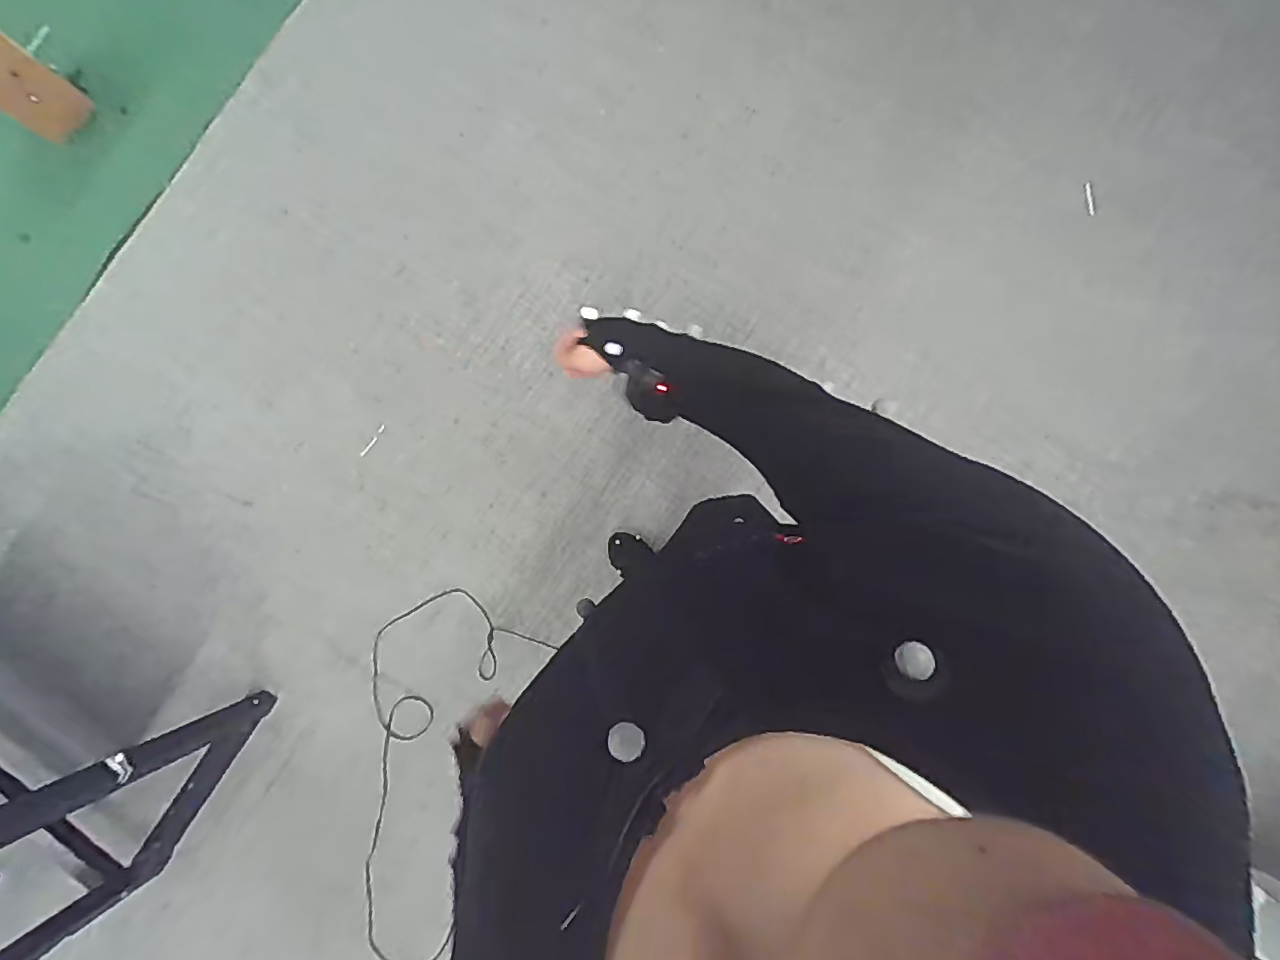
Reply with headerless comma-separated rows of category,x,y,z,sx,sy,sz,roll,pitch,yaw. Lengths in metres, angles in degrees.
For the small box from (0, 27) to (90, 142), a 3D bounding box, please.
small box,-1.788,-1.150,1.581,0.168,0.176,0.179,38,89,4
